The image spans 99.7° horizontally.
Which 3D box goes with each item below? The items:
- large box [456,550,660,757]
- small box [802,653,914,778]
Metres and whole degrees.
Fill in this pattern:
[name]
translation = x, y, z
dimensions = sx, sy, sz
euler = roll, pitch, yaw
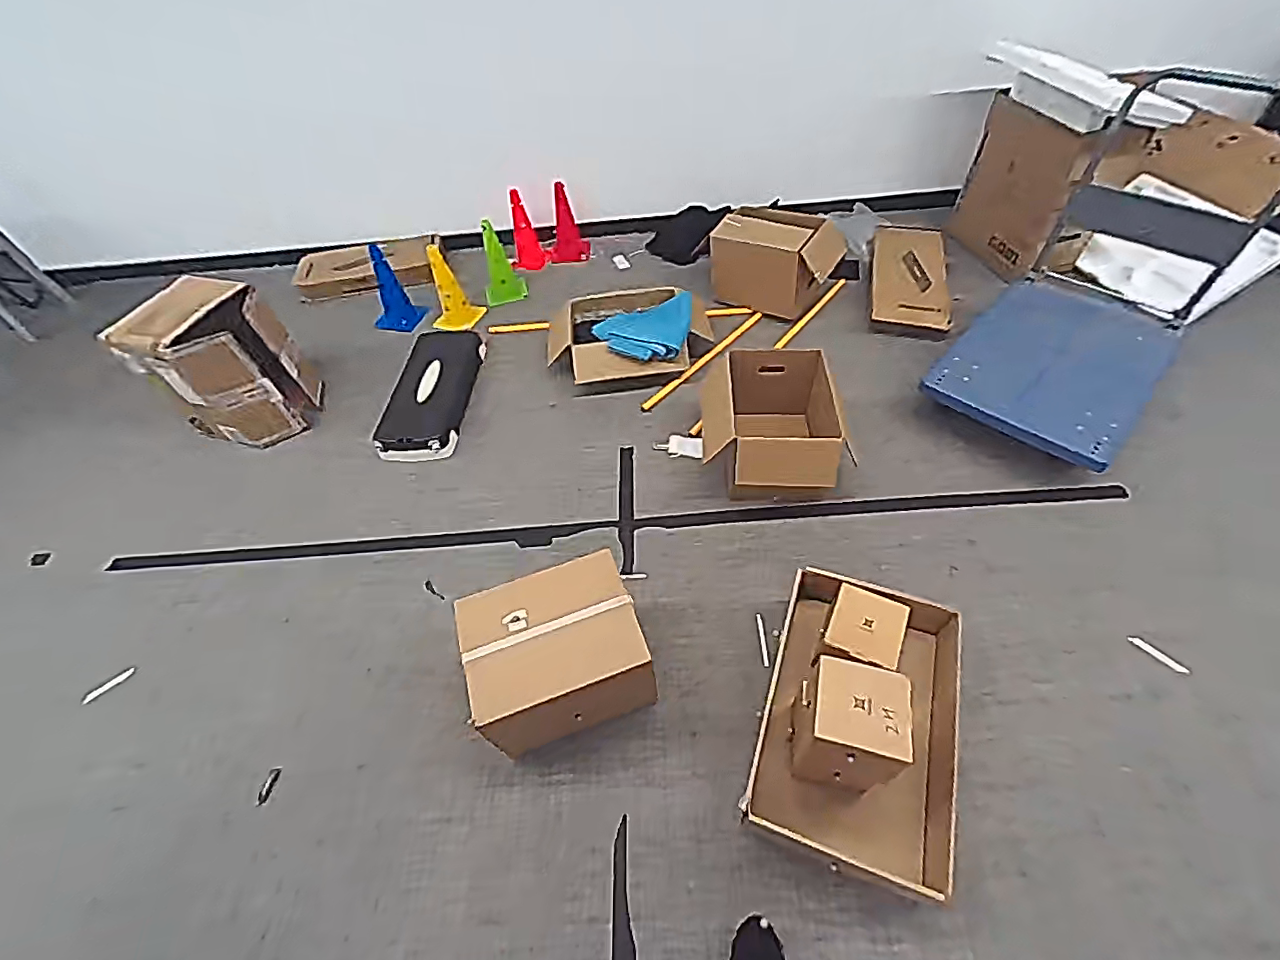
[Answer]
[large box]
translation = -0.195, 0.440, 1.364
dimensions = 0.408, 0.320, 0.320
euler = -19, 52, -9
[small box]
translation = 0.433, 0.477, 1.089
dimensions = 0.179, 0.176, 0.168
euler = 11, 52, 13
